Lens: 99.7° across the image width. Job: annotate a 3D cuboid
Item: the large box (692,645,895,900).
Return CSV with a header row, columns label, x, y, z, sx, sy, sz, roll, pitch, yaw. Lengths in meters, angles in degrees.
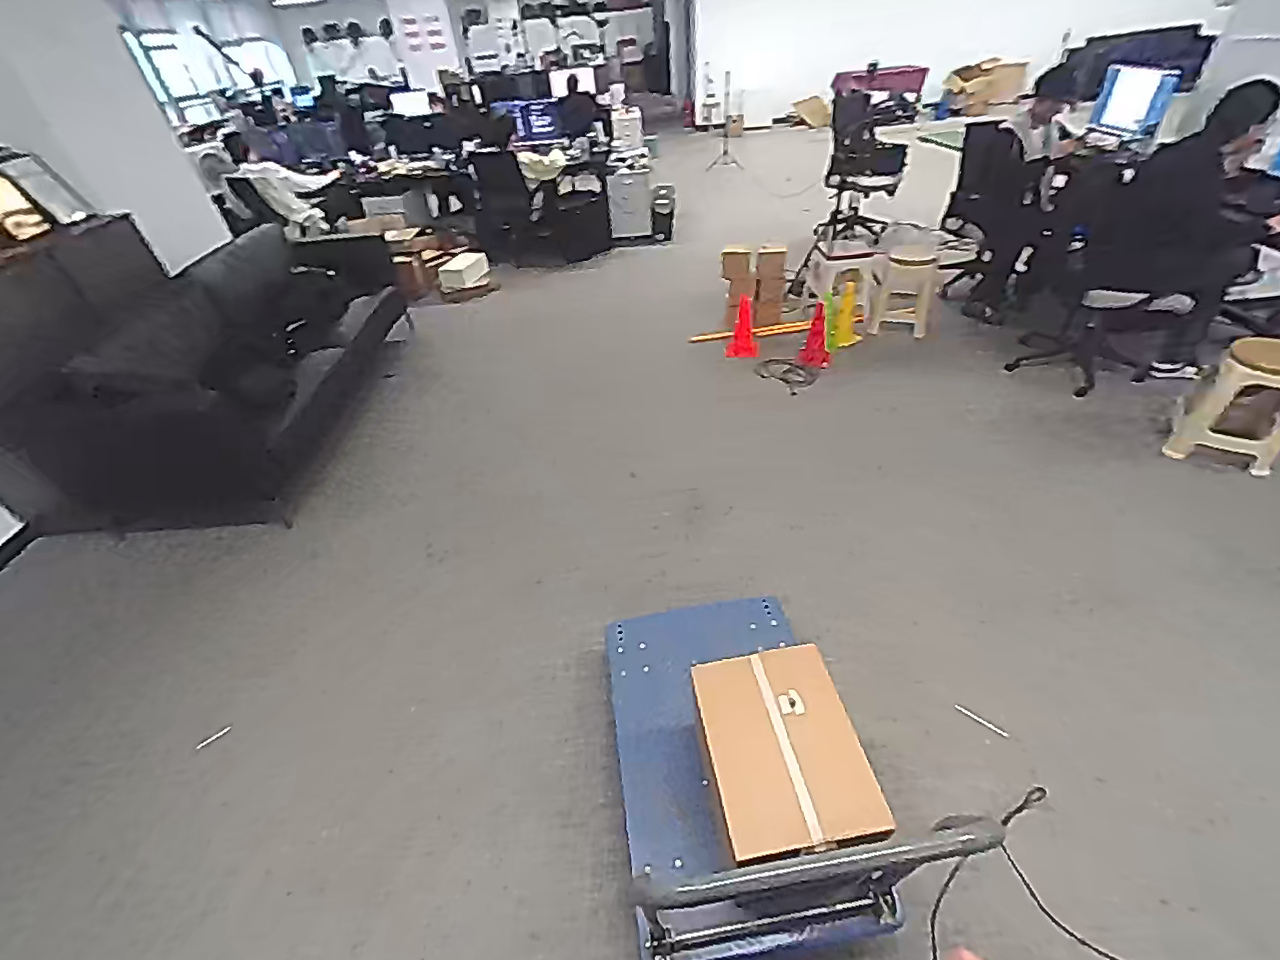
label,x,y,z,sx,sy,sz,roll,pitch,yaw
large box,0.320,0.666,1.255,0.320,0.320,0.408,-9,40,-3
